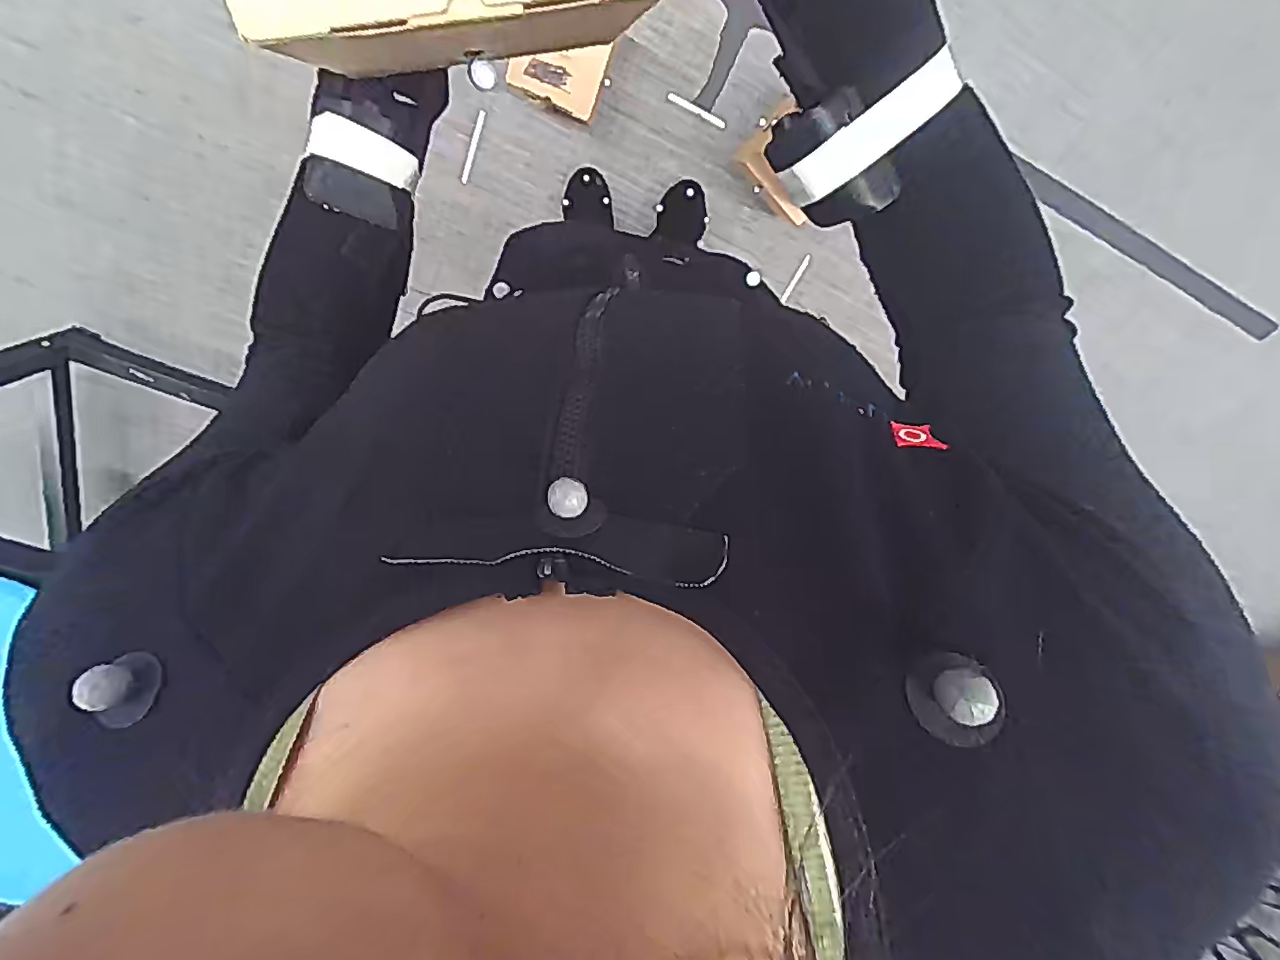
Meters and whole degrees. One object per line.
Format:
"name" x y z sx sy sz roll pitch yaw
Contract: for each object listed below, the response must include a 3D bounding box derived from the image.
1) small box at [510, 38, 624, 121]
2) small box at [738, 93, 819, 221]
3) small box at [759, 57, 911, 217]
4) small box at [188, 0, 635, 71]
"small box" -0.132 -0.822 1.043 0.168 0.176 0.179 20 118 -12
"small box" 0.331 -0.678 1.137 0.179 0.176 0.168 36 114 -22
"small box" 0.341 -0.613 0.983 0.179 0.176 0.168 34 116 -21
"small box" -0.099 -0.287 0.226 0.168 0.176 0.179 -8 127 -6
